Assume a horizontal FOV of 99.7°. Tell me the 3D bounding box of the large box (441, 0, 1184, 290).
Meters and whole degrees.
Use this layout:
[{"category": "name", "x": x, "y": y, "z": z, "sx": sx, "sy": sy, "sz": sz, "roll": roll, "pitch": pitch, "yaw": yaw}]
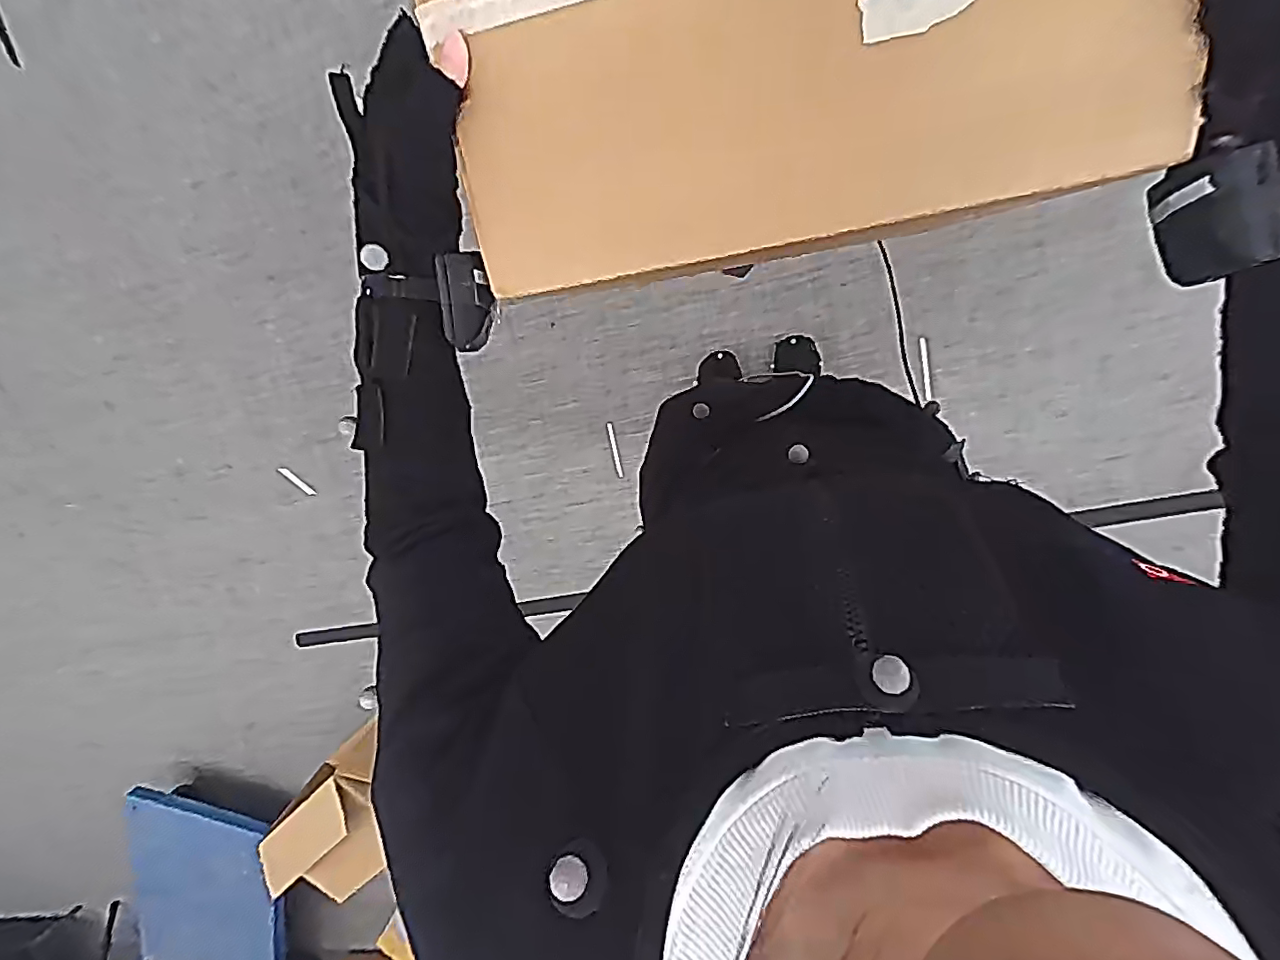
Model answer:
[{"category": "large box", "x": 0.092, "y": -0.351, "z": 0.431, "sx": 0.408, "sy": 0.320, "sz": 0.320, "roll": -8, "pitch": 109, "yaw": 10}]
